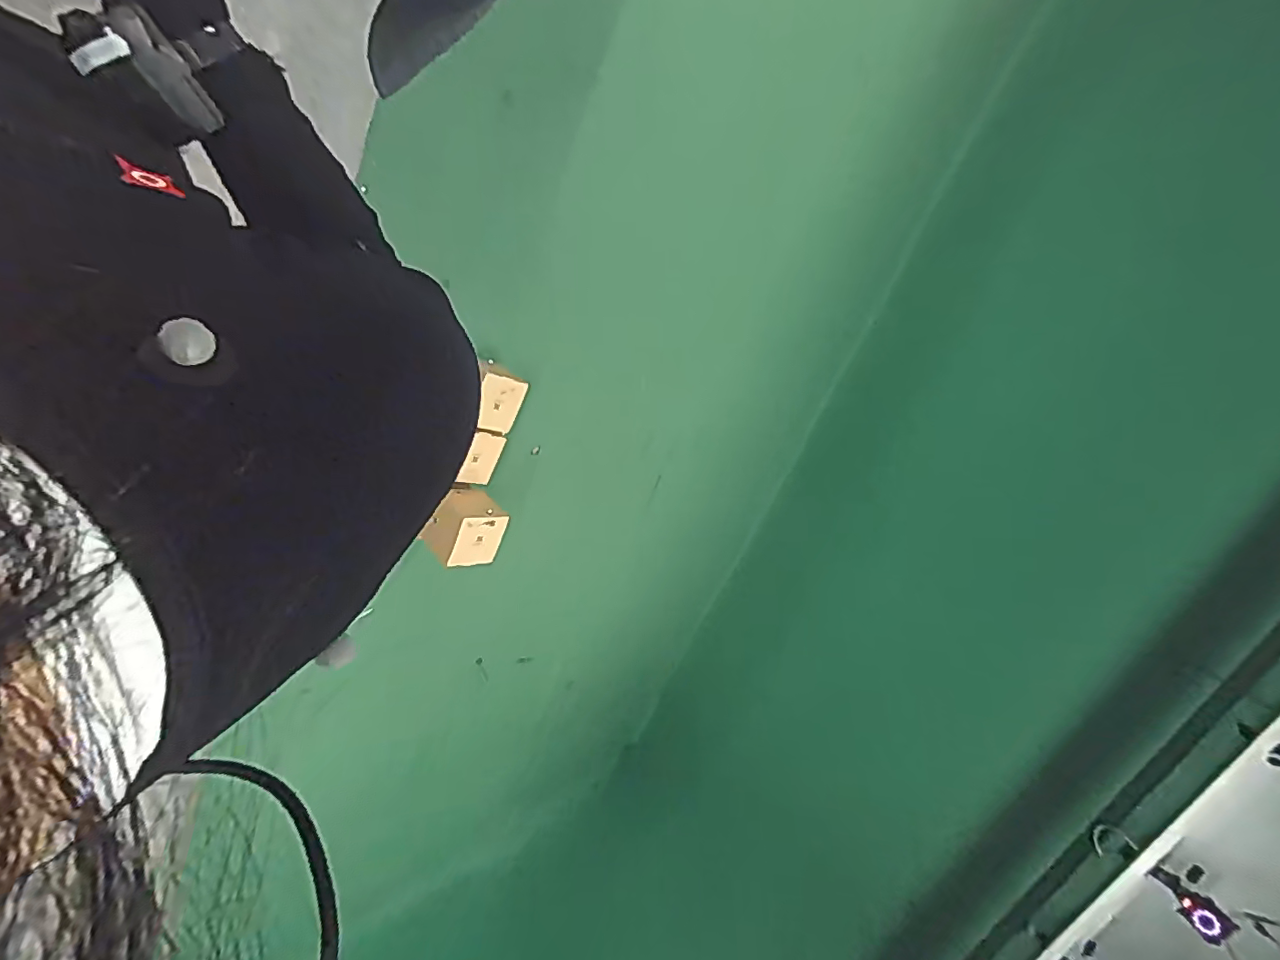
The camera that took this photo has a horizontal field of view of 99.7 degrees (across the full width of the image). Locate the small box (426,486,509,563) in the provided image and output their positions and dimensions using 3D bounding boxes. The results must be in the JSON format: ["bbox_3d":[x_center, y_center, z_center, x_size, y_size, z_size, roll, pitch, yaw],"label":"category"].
[{"bbox_3d":[-0.546,0.137,1.693,0.168,0.176,0.179,3,118,-52],"label":"small box"}]
